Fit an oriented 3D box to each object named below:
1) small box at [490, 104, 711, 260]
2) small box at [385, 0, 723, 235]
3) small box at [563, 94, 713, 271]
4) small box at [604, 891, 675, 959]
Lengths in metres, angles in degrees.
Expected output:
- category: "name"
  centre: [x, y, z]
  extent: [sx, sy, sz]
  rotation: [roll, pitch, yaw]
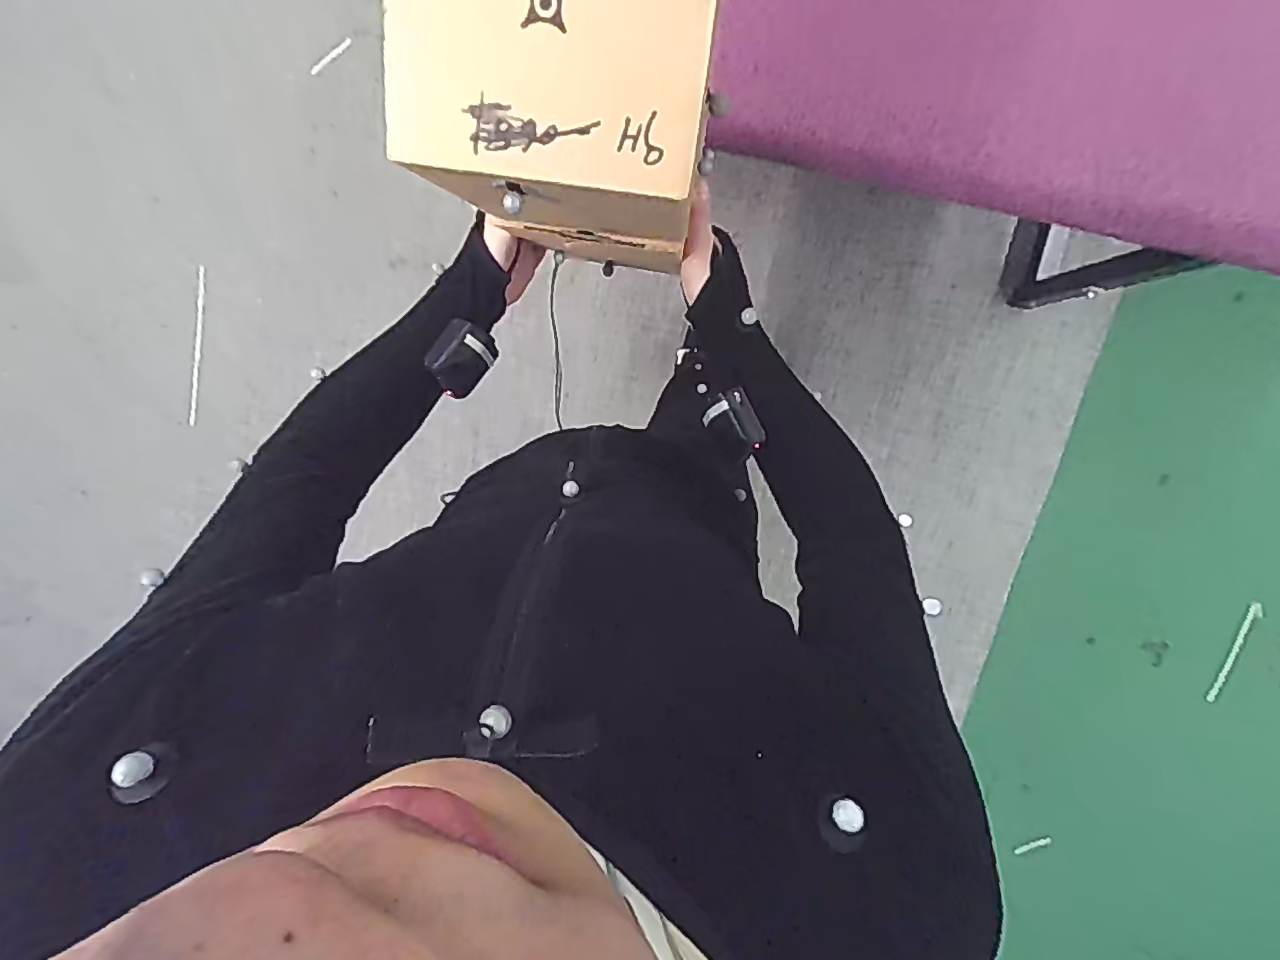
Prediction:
- category: "small box"
  centre: [-0.026, -0.310, 0.497]
  extent: [0.168, 0.176, 0.179]
  rotation: [9, 106, 2]
- category: "small box"
  centre: [-0.036, -0.270, 0.338]
  extent: [0.168, 0.176, 0.179]
  rotation: [9, 107, 2]
- category: "small box"
  centre: [-0.013, -0.361, 0.652]
  extent: [0.168, 0.176, 0.179]
  rotation: [9, 108, 2]
- category: "small box"
  centre: [-0.002, 1.311, 1.508]
  extent: [0.168, 0.176, 0.179]
  rotation: [18, 101, 2]
